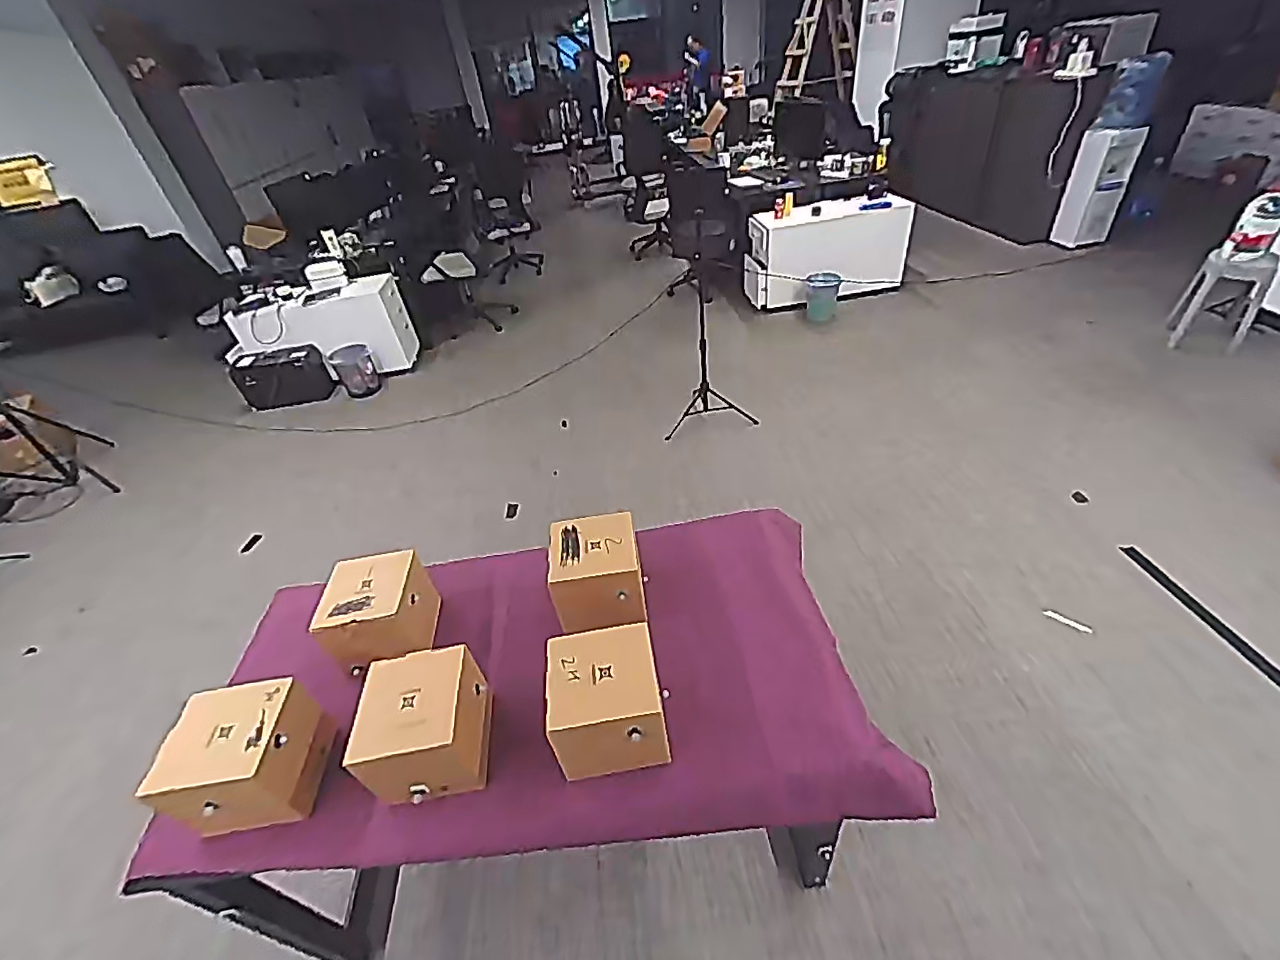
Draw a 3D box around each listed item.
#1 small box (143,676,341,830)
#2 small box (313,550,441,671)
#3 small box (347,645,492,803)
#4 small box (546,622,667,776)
[{"bbox_3d":[-0.650,0.461,0.910,0.179,0.176,0.168,-10,39,0],"label":"small box"},{"bbox_3d":[-0.530,0.275,1.120,0.168,0.176,0.179,-10,39,-2],"label":"small box"},{"bbox_3d":[-0.358,0.413,0.918,0.168,0.176,0.179,-10,40,-1],"label":"small box"},{"bbox_3d":[-0.052,0.368,0.909,0.179,0.176,0.168,-10,38,-1],"label":"small box"}]
